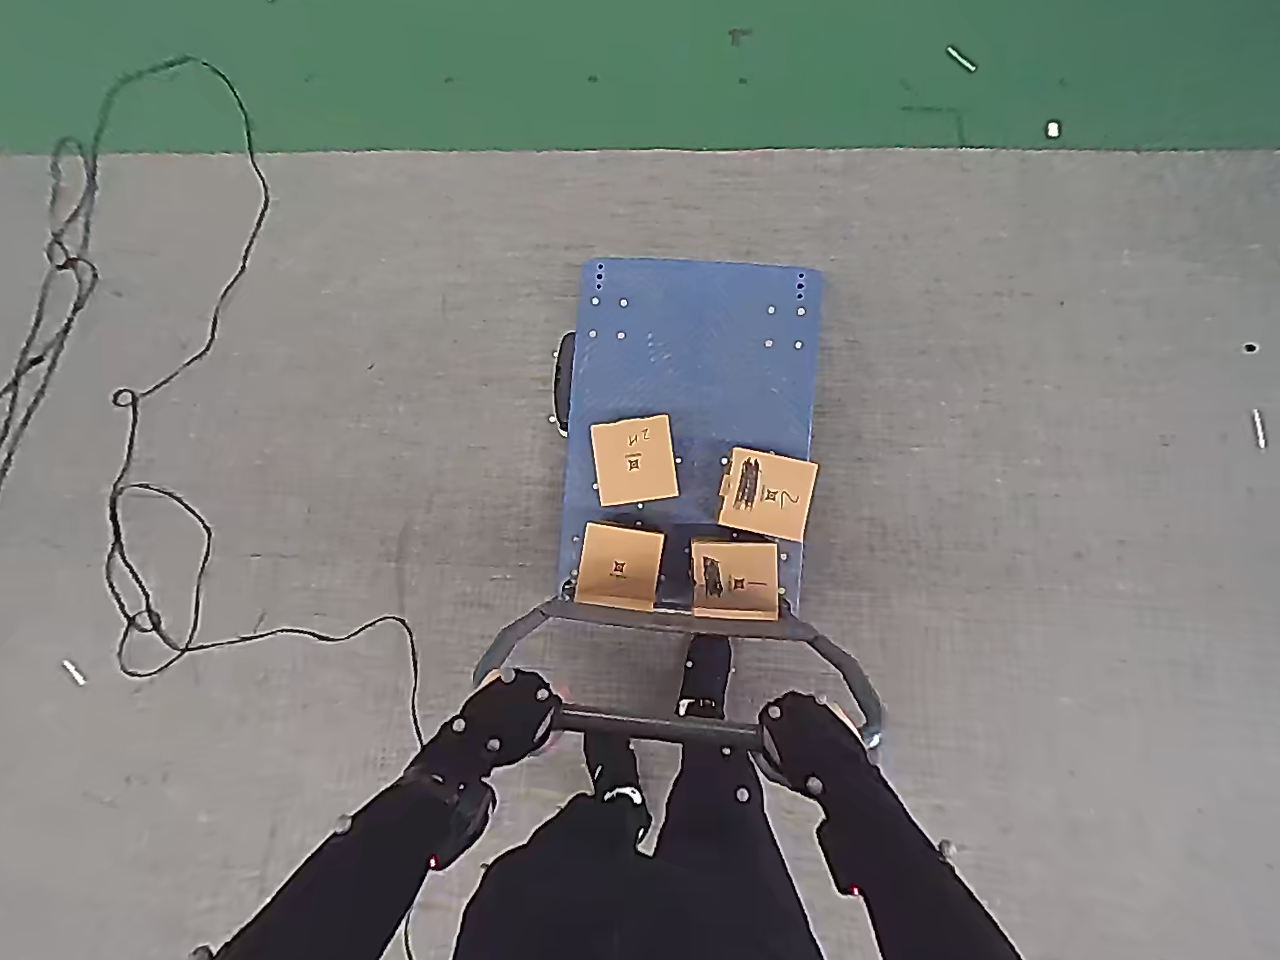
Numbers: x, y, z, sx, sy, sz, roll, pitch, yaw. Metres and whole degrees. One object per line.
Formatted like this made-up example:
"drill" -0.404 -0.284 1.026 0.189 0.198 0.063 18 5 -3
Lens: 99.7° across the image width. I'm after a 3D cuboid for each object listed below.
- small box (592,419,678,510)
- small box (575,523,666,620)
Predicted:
"small box" -0.006 -0.030 1.204 0.168 0.176 0.179 -7 87 3
"small box" -0.038 0.195 1.200 0.168 0.176 0.179 10 88 4
